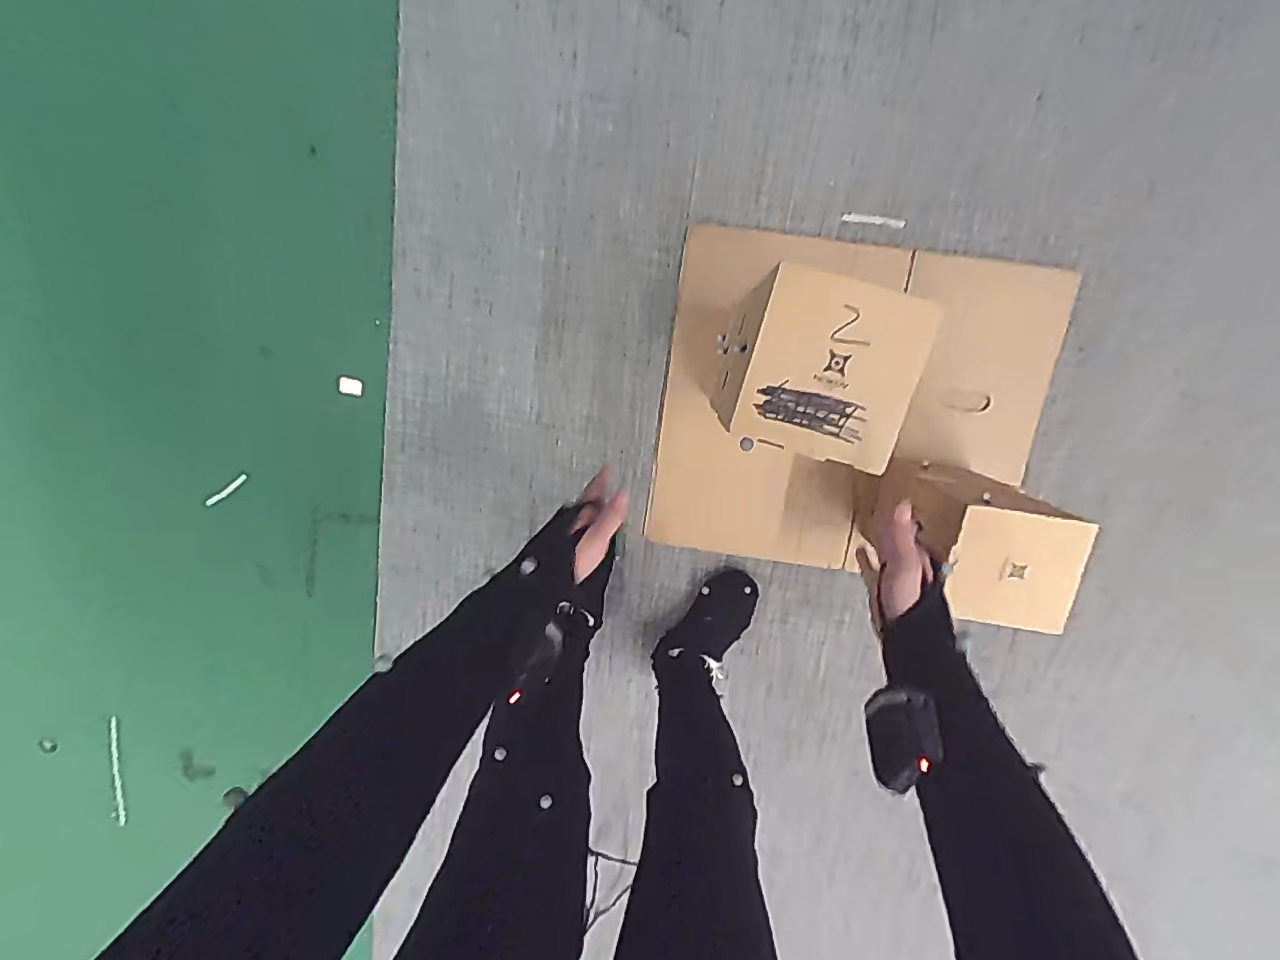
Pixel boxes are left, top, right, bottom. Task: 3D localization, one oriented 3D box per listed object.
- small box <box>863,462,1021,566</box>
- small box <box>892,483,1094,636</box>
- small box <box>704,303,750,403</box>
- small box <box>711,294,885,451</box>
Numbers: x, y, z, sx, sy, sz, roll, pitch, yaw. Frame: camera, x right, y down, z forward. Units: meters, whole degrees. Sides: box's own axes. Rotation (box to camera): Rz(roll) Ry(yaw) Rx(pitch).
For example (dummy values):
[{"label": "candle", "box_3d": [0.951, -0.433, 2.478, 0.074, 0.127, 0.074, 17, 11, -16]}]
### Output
[{"label": "small box", "box_3d": [0.525, 0.069, 0.972, 0.179, 0.176, 0.168, 9, 102, 2]}, {"label": "small box", "box_3d": [0.513, 0.109, 0.816, 0.179, 0.176, 0.168, 9, 103, 4]}, {"label": "small box", "box_3d": [0.219, -0.194, 0.936, 0.179, 0.176, 0.168, 17, 102, 0]}, {"label": "small box", "box_3d": [0.210, -0.153, 0.776, 0.179, 0.176, 0.168, 16, 102, 1]}]
